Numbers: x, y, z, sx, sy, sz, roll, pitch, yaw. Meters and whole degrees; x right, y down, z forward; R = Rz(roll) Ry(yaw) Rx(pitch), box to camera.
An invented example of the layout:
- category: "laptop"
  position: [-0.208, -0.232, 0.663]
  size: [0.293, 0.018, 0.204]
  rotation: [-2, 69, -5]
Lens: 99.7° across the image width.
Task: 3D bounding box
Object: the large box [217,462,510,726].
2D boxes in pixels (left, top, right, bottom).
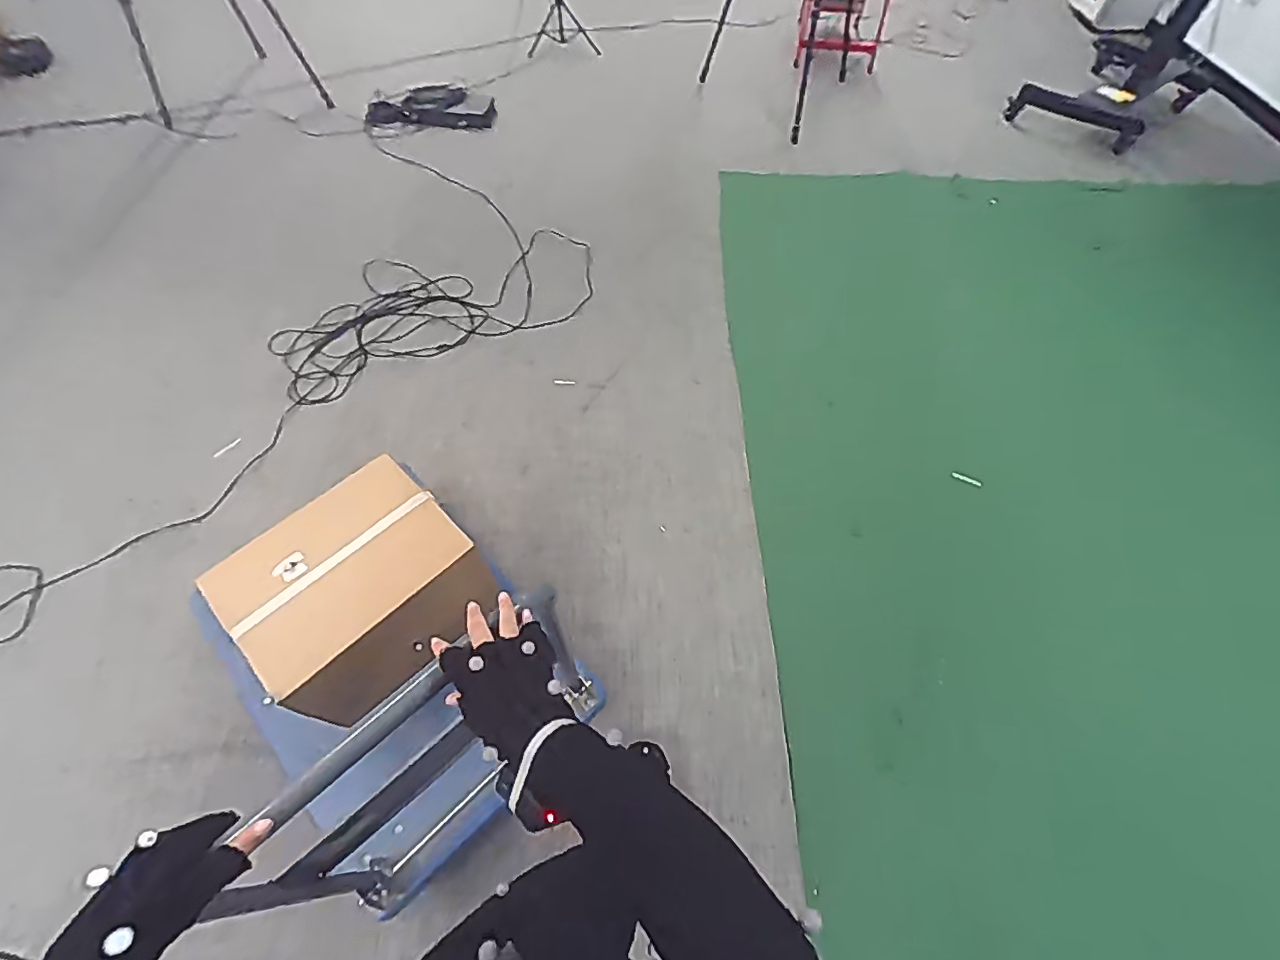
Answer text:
- category: "large box"
  position: [-0.553, 0.245, 1.162]
  size: [0.320, 0.320, 0.408]
  rotation: [39, 66, 22]
